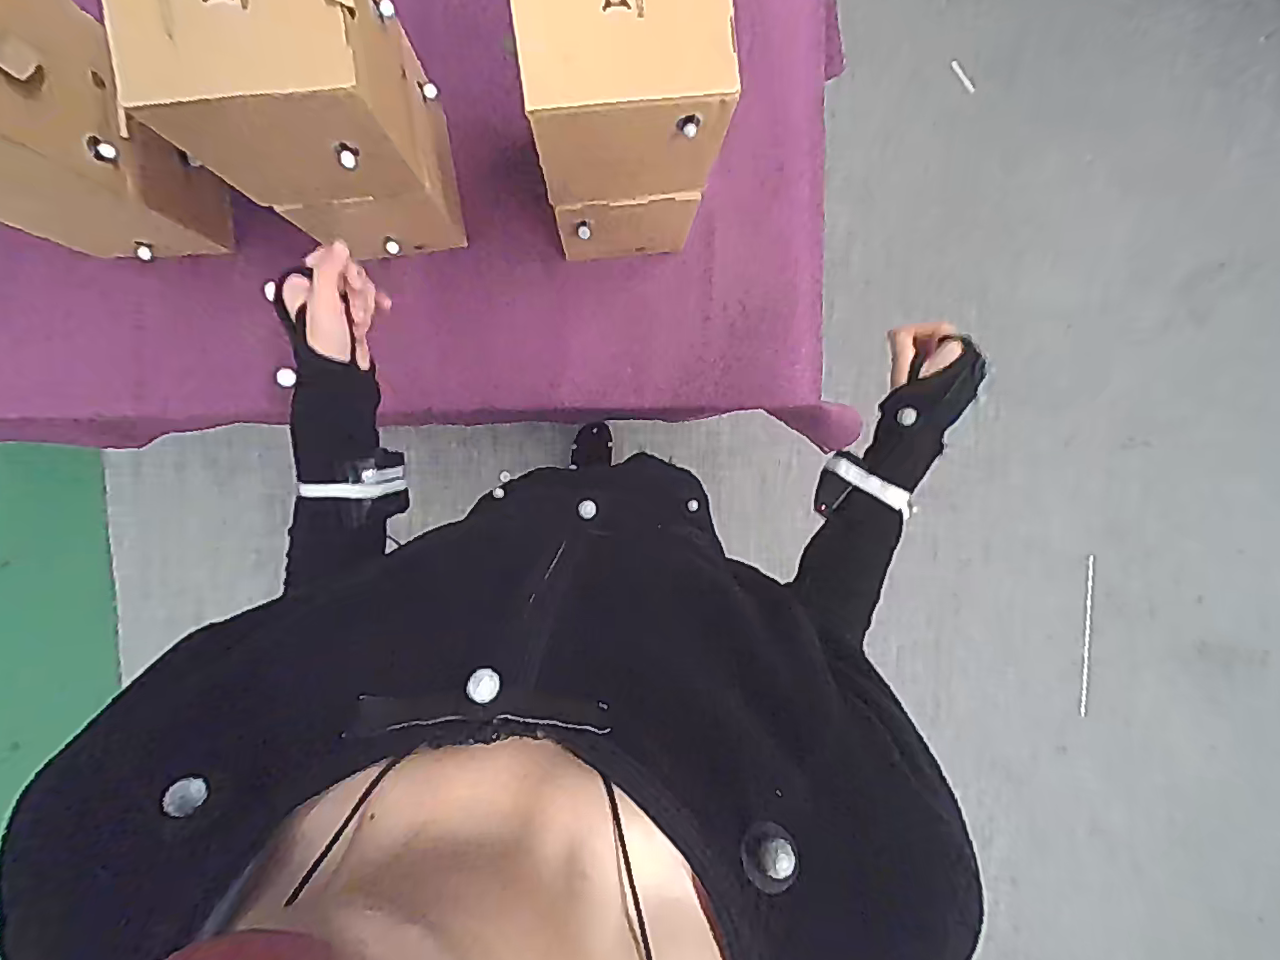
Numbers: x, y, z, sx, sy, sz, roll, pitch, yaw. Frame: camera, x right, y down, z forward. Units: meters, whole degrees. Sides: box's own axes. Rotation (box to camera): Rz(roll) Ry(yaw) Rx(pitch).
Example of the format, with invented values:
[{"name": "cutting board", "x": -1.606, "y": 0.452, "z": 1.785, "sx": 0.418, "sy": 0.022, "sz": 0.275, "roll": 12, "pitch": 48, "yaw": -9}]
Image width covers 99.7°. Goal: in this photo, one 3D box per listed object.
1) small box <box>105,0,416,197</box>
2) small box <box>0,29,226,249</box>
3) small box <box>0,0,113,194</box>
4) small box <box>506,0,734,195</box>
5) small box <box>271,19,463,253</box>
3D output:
[{"name": "small box", "x": -0.318, "y": -0.379, "z": 0.486, "sx": 0.179, "sy": 0.176, "sz": 0.168, "roll": -6, "pitch": 94, "yaw": -2}, {"name": "small box", "x": -0.624, "y": -0.381, "z": 0.630, "sx": 0.179, "sy": 0.176, "sz": 0.168, "roll": -3, "pitch": 95, "yaw": -4}, {"name": "small box", "x": -0.613, "y": -0.367, "z": 0.466, "sx": 0.179, "sy": 0.176, "sz": 0.168, "roll": -3, "pitch": 95, "yaw": -3}, {"name": "small box", "x": -0.023, "y": -0.388, "z": 0.505, "sx": 0.179, "sy": 0.176, "sz": 0.168, "roll": -7, "pitch": 95, "yaw": -4}, {"name": "small box", "x": -0.326, "y": -0.395, "z": 0.649, "sx": 0.168, "sy": 0.176, "sz": 0.179, "roll": -8, "pitch": 96, "yaw": -2}]
